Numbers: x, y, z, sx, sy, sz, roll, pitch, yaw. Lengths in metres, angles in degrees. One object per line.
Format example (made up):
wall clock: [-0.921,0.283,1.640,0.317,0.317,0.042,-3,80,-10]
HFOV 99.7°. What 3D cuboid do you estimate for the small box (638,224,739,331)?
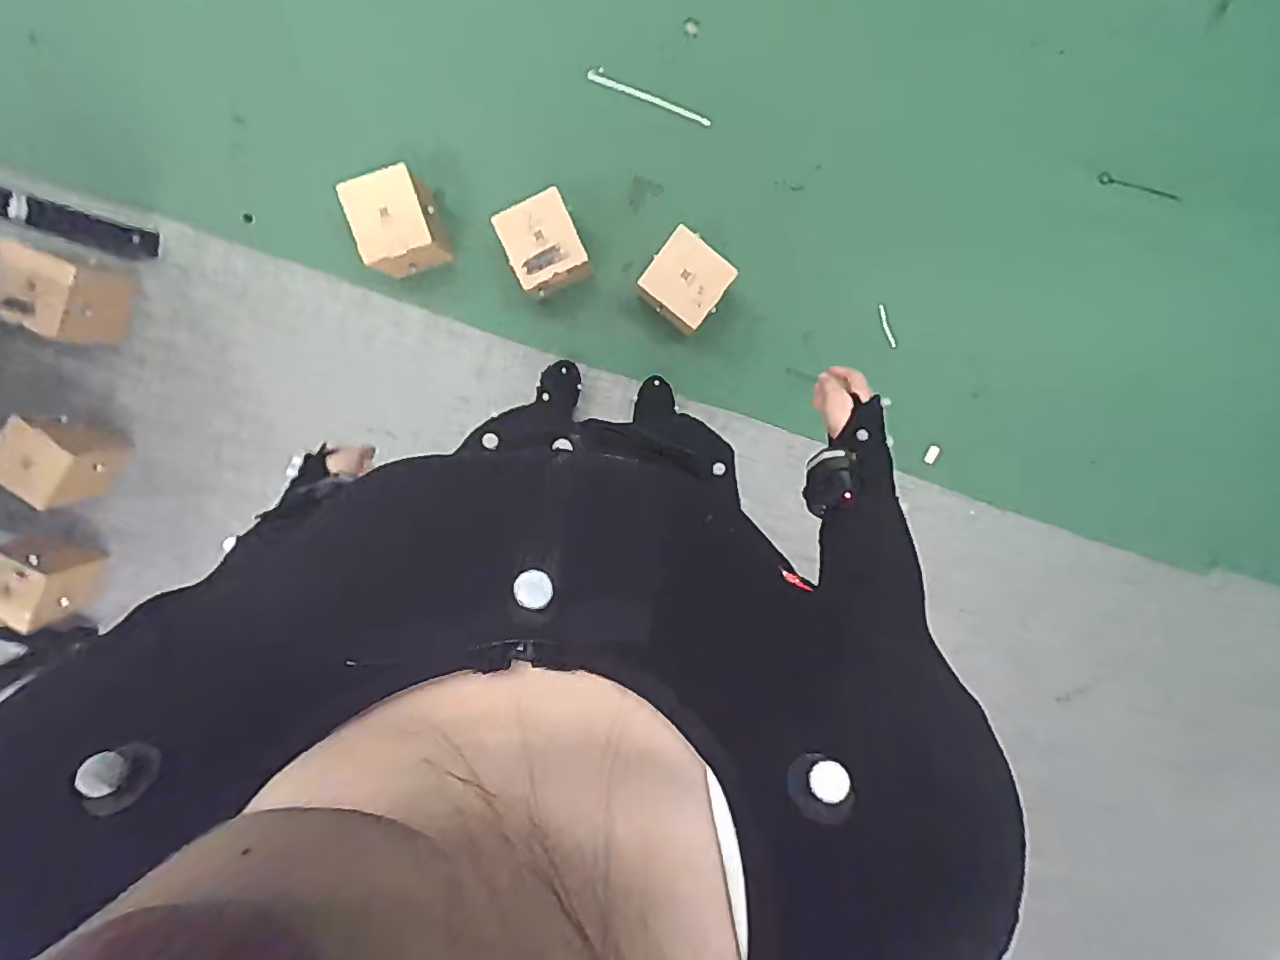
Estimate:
small box: [0.109,-0.477,1.313,0.179,0.176,0.168,37,99,-8]

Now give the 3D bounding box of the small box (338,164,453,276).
small box: [-0.568,-0.605,1.280,0.168,0.176,0.179,-17,102,2]

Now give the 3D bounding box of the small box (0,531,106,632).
small box: [-1.590,0.262,1.433,0.168,0.176,0.179,30,100,-7]

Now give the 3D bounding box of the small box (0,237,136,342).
small box: [-1.374,-0.445,1.296,0.168,0.176,0.179,23,99,-6]

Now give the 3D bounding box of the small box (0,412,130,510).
small box: [-1.467,-0.056,1.372,0.168,0.176,0.179,38,100,-7]
